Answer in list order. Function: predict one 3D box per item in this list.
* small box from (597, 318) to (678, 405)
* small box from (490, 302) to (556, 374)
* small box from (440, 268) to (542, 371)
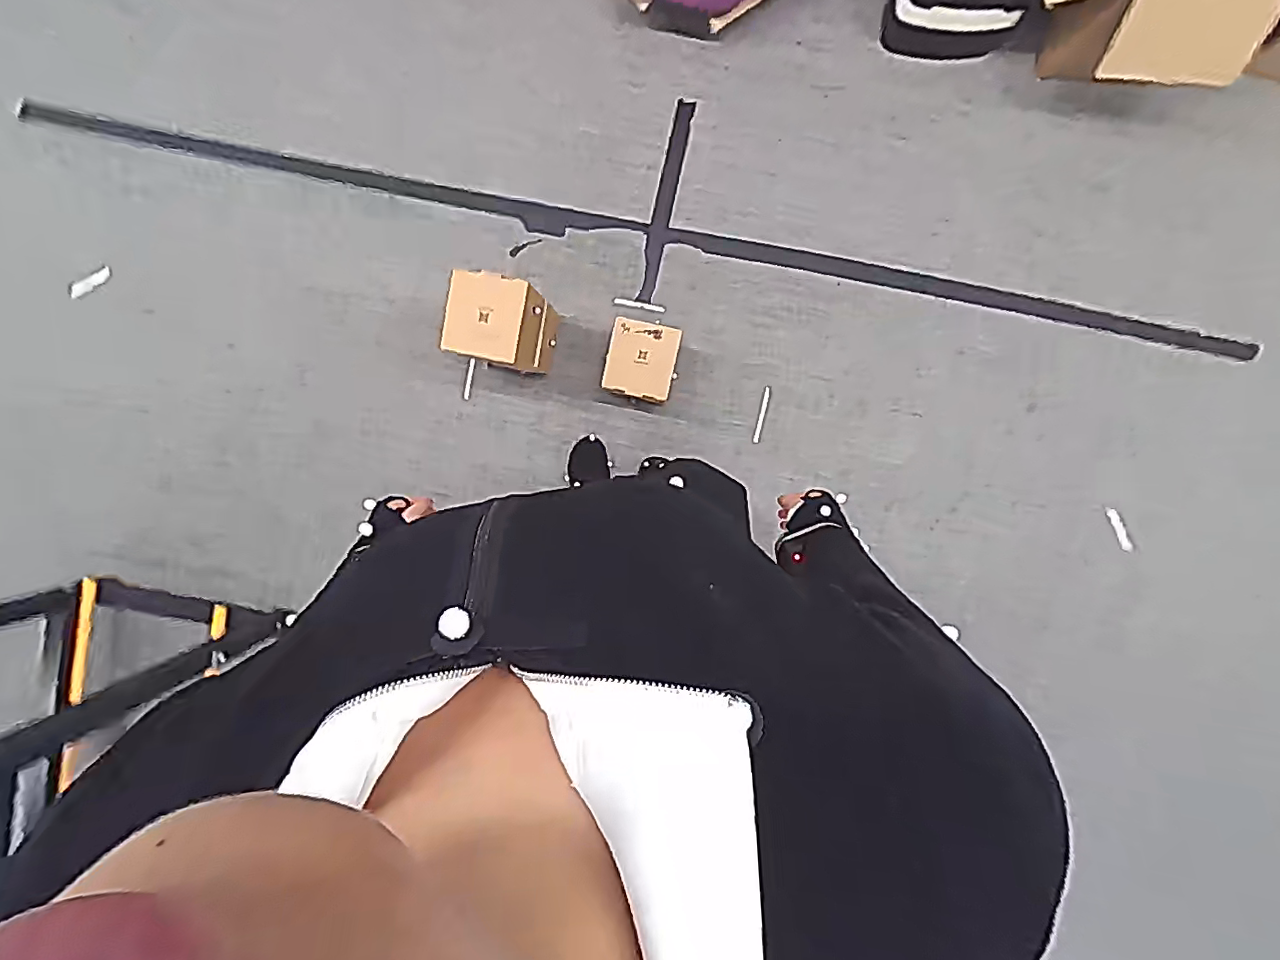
[{"bbox_3d":[-0.003,-0.296,1.390,0.168,0.176,0.179,14,96,0],"label":"small box"},{"bbox_3d":[-0.321,-0.373,1.389,0.179,0.176,0.168,11,95,1],"label":"small box"},{"bbox_3d":[-0.329,-0.355,1.228,0.168,0.176,0.179,12,96,2],"label":"small box"}]
